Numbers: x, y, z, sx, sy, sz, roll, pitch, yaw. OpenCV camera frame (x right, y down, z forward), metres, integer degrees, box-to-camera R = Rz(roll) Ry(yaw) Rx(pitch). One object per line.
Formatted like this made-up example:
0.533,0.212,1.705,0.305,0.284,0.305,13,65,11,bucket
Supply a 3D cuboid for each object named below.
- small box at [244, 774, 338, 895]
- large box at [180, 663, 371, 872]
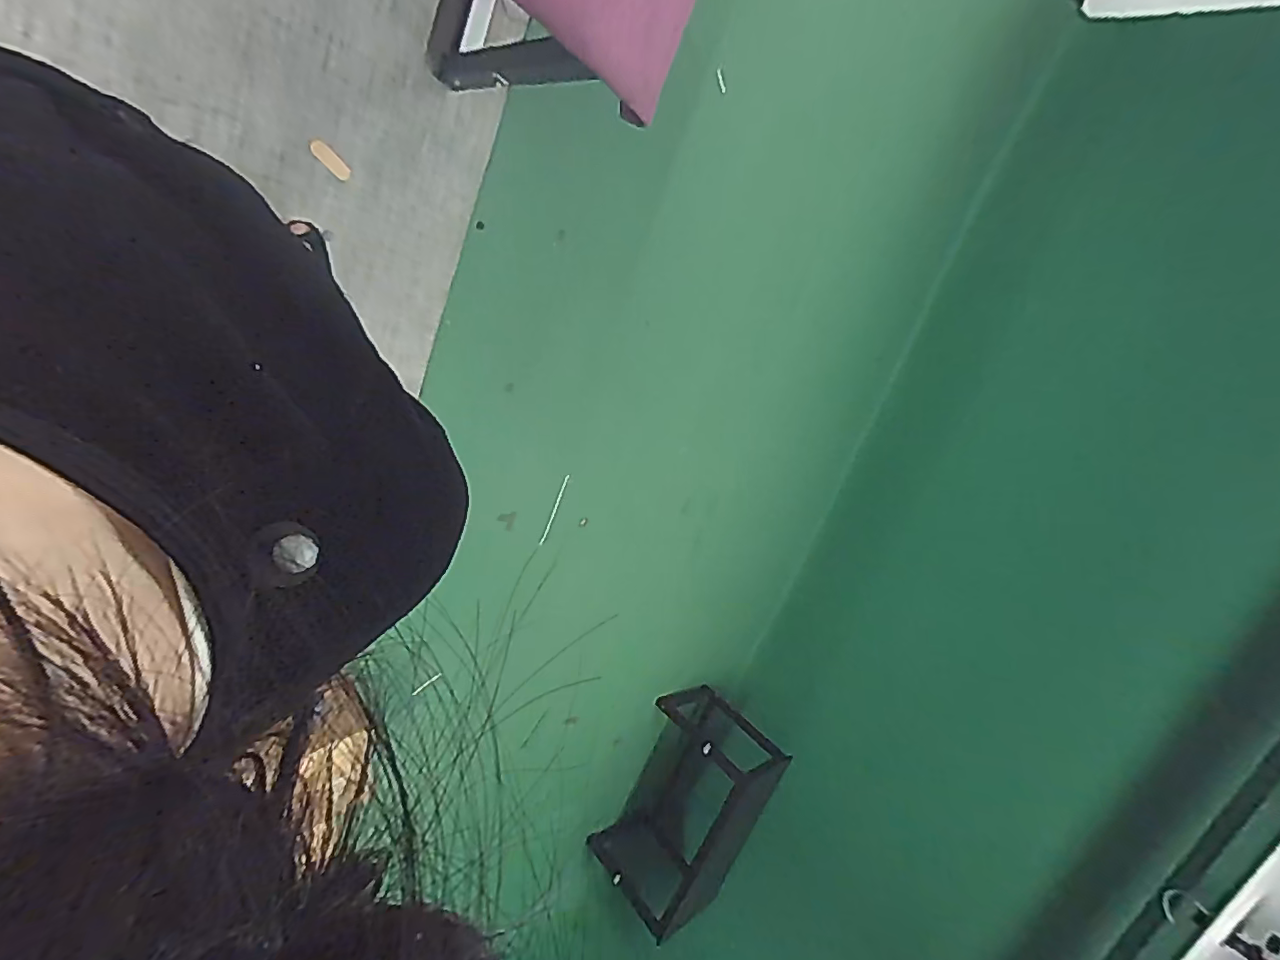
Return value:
-0.924,0.924,1.430,0.179,0.176,0.168,-6,117,-44,small box
-1.066,0.819,1.603,0.408,0.320,0.320,-11,123,-43,large box
